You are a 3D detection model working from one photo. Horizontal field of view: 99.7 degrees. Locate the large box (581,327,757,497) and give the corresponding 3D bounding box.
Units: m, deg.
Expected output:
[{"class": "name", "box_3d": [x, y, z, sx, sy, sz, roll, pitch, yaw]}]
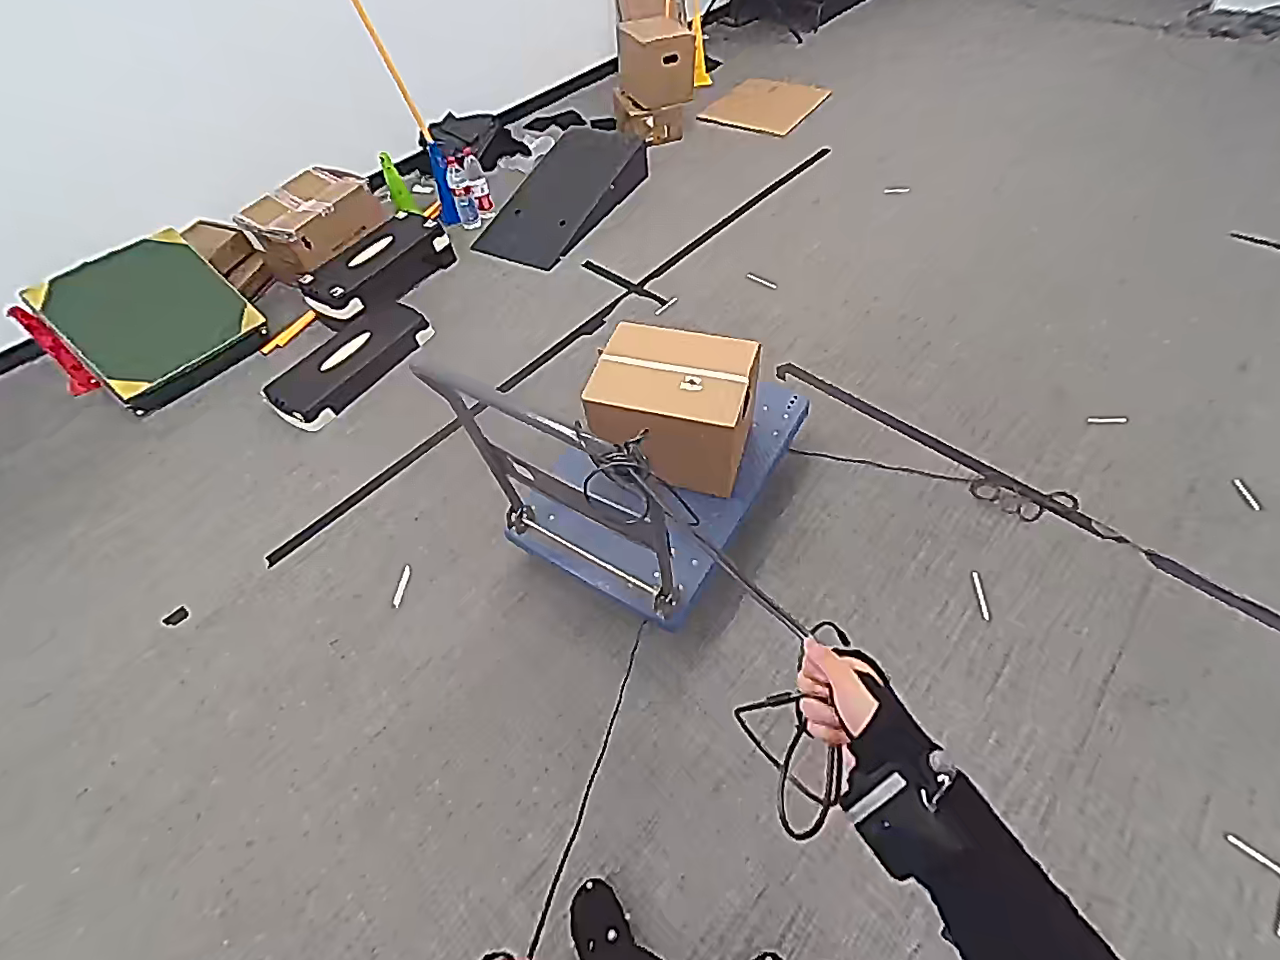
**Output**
[{"class": "large box", "box_3d": [0.089, -0.192, 1.530, 0.408, 0.320, 0.320, 13, 58, 14]}]
